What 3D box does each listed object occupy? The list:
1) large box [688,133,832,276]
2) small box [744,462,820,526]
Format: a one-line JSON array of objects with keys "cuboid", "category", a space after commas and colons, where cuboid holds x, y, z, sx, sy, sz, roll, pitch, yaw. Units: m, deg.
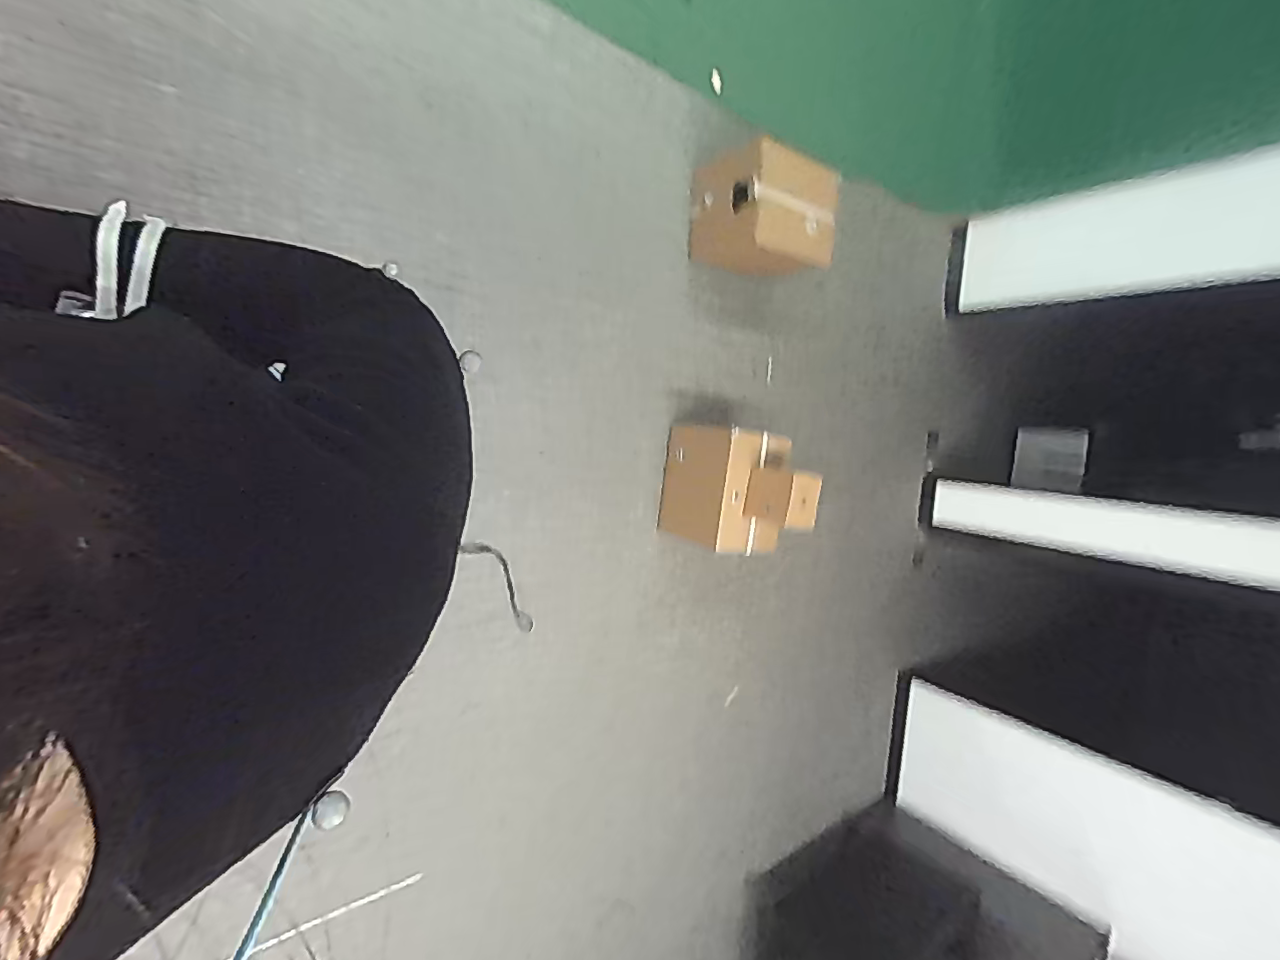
[{"cuboid": [0.414, -0.931, 1.889, 0.408, 0.320, 0.320, -3, 99, -38], "category": "large box"}, {"cuboid": [0.464, 0.045, 1.781, 0.168, 0.176, 0.179, 8, 92, -41], "category": "small box"}]
